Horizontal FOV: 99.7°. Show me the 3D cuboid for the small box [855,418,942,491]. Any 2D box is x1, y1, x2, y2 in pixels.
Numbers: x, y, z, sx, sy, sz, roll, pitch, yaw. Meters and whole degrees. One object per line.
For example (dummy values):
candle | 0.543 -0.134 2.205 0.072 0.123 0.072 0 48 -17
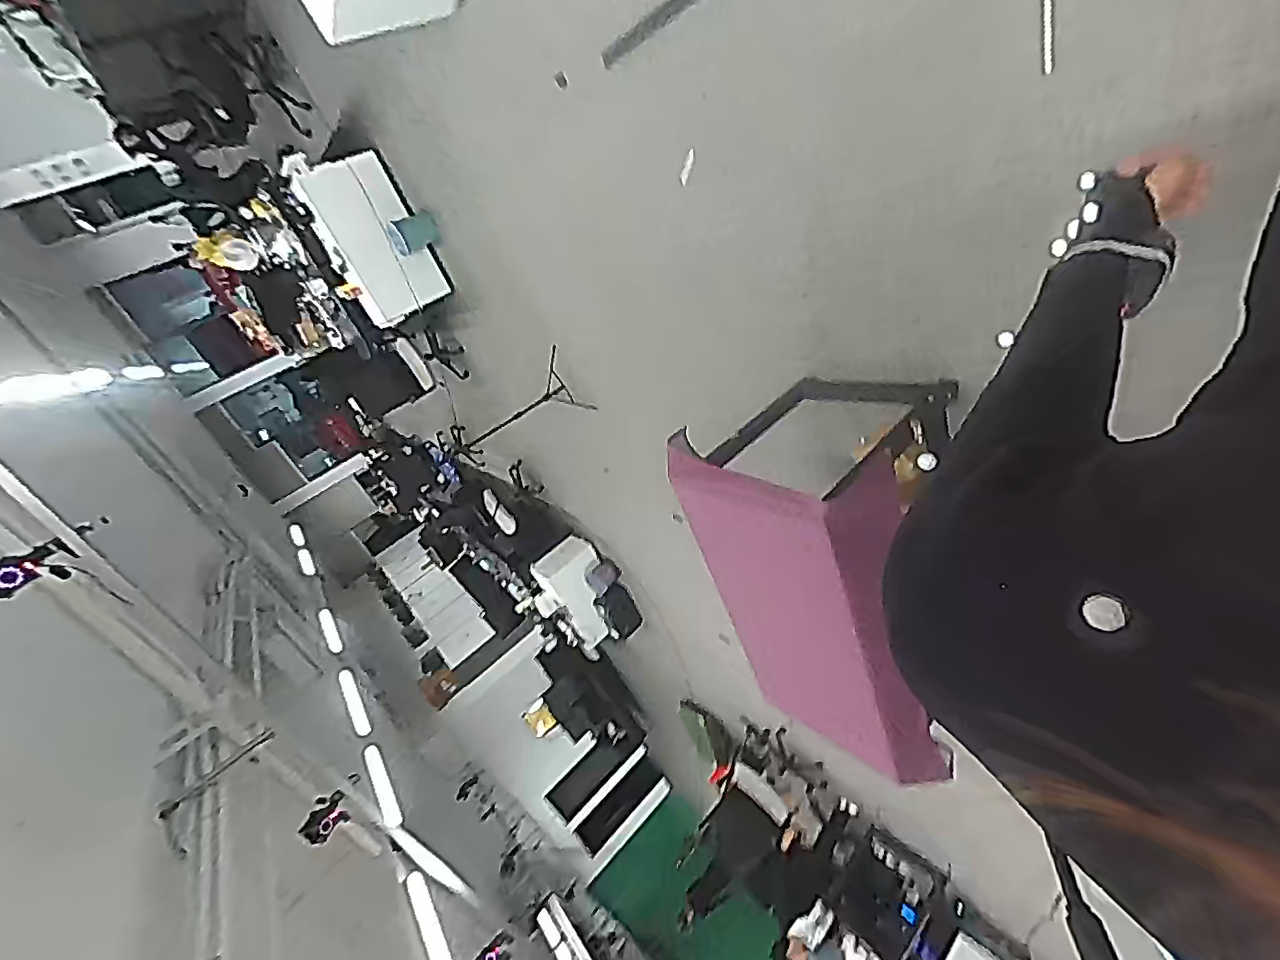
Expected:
small box | 0.898 -0.087 1.875 0.168 0.176 0.179 52 156 -1
